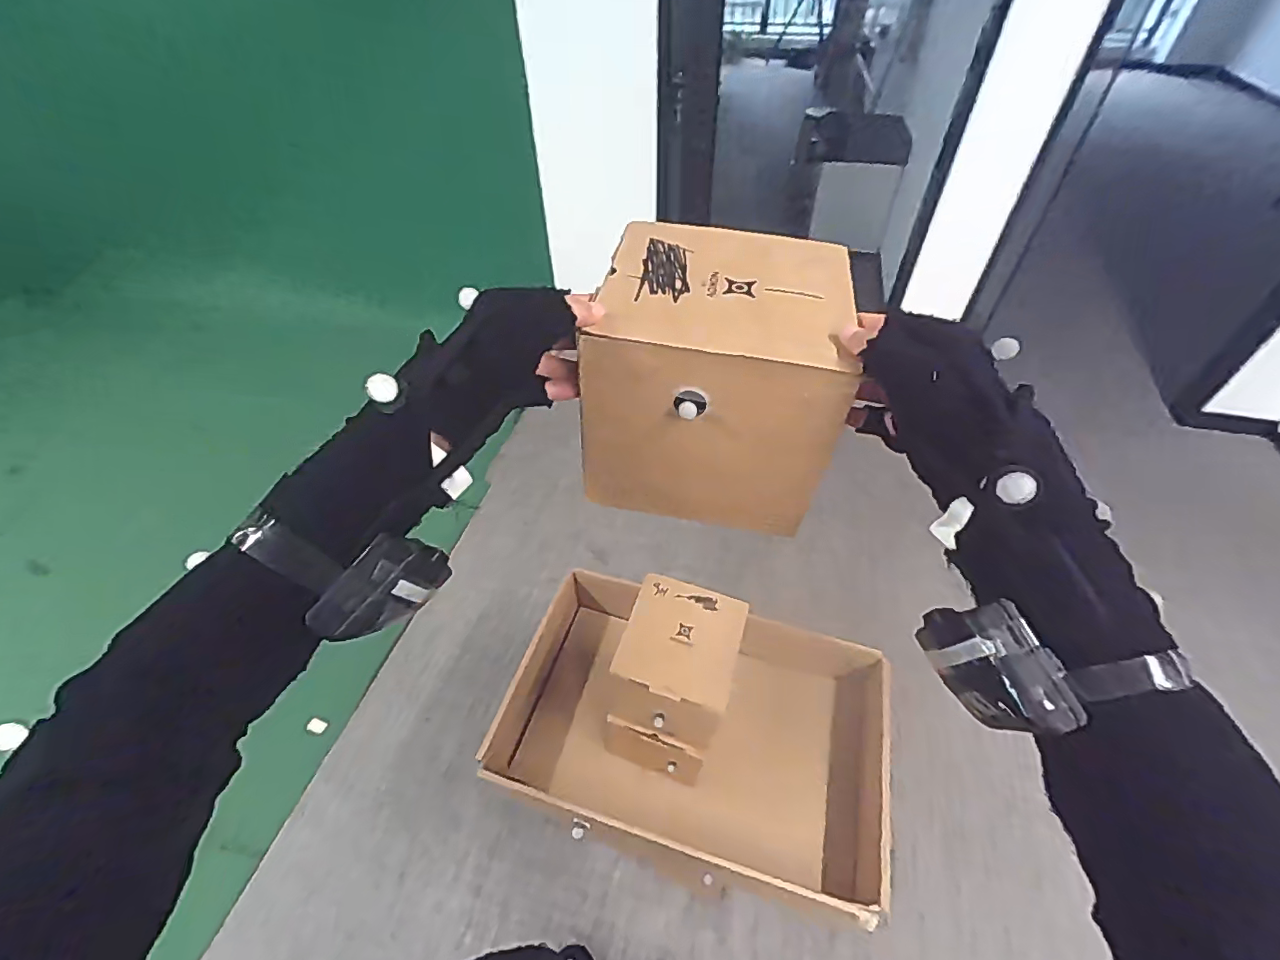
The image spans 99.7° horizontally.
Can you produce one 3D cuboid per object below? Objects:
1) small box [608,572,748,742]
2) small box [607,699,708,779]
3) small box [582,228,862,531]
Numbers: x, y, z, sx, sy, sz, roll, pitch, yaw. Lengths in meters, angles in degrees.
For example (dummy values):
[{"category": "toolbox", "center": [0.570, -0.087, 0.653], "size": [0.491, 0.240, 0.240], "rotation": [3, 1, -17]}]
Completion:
[{"category": "small box", "center": [0.059, 0.279, 0.844], "size": [0.168, 0.176, 0.179], "rotation": [16, 50, 11]}, {"category": "small box", "center": [0.050, 0.397, 0.958], "size": [0.168, 0.176, 0.179], "rotation": [16, 47, 11]}, {"category": "small box", "center": [0.060, -0.078, 0.439], "size": [0.179, 0.176, 0.168], "rotation": [10, 49, 5]}]
